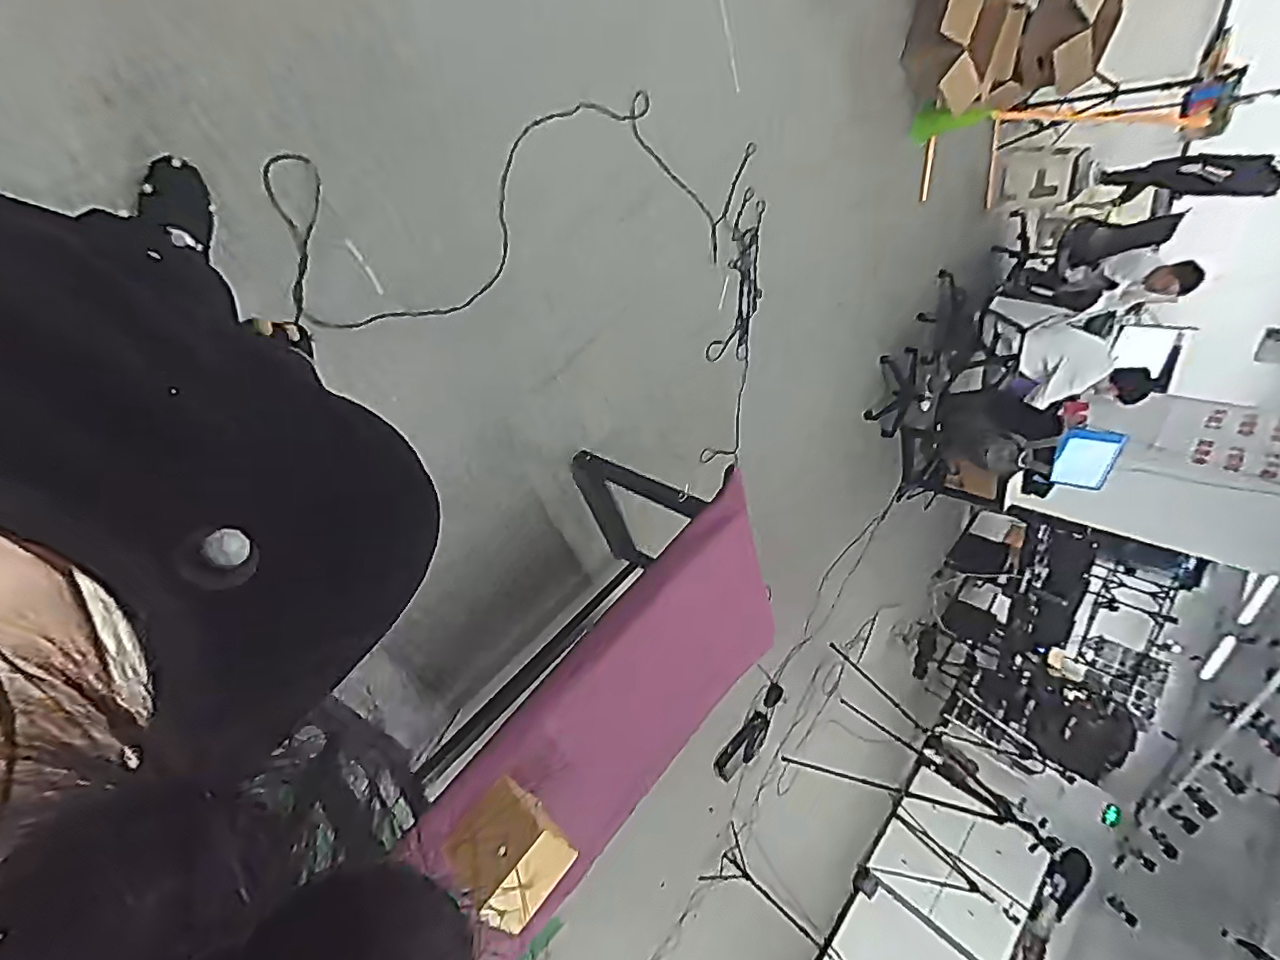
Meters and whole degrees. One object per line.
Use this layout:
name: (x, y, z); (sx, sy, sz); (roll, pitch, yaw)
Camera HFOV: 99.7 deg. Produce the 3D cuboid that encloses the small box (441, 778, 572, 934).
small box: (-0.279, 0.760, 1.103); (0.179, 0.176, 0.168); (-45, 133, -24)
